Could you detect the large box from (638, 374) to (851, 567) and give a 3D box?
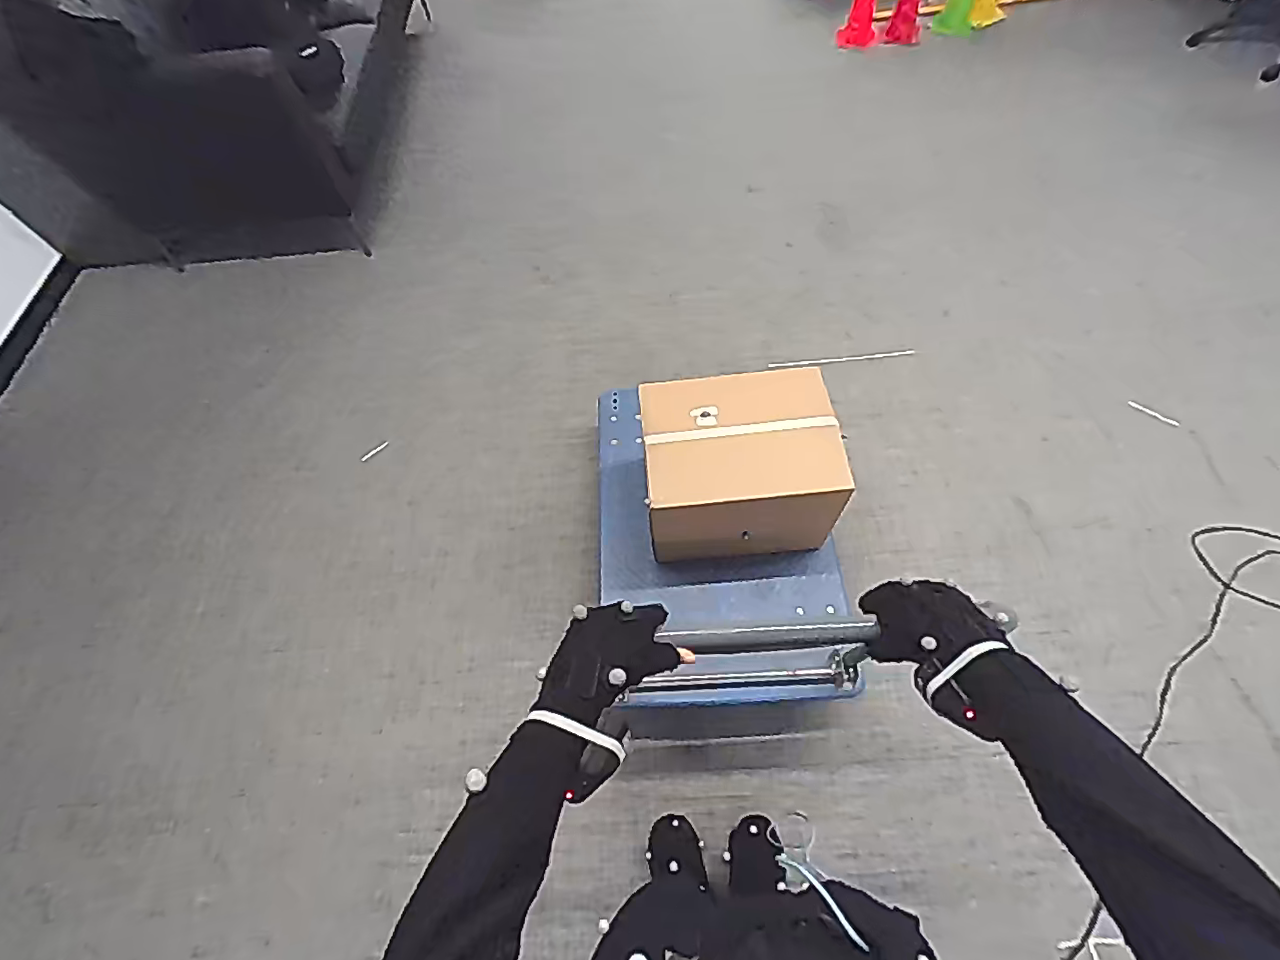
[{"bbox_3d":[0.223,-0.009,1.274,0.408,0.320,0.320,-8,60,2],"label":"large box"}]
